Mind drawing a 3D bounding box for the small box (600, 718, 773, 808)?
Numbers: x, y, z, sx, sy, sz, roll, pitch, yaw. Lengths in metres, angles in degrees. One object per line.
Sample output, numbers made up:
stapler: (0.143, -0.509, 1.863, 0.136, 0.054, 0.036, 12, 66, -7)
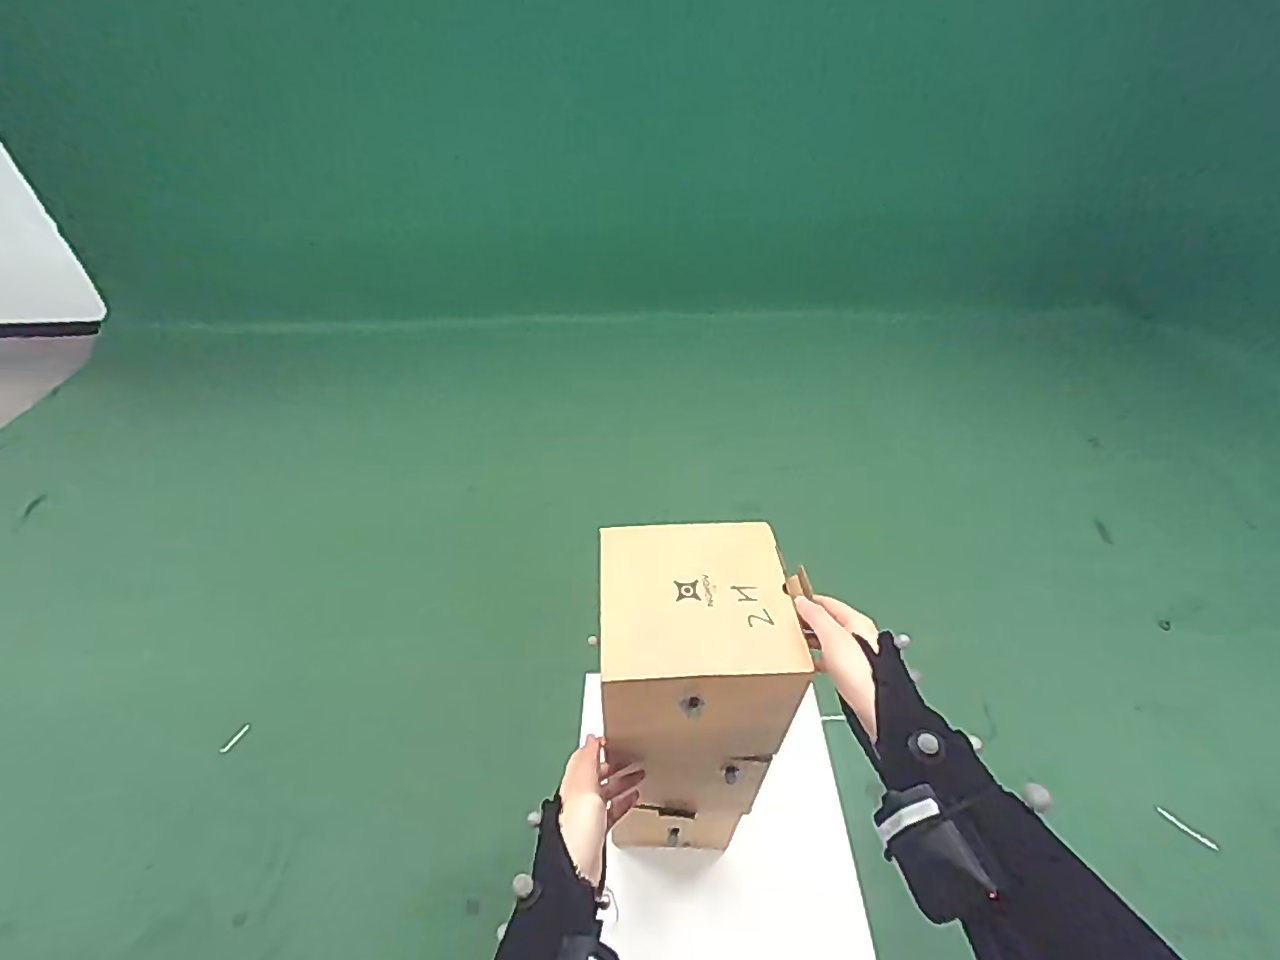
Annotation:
small box: (0.051, 0.272, 0.647, 0.179, 0.176, 0.168, 4, 42, 2)

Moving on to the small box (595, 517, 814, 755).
small box: (0.048, 0.154, 0.533, 0.179, 0.176, 0.168, -1, 43, -3)

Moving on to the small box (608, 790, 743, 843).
small box: (0.047, 0.390, 0.759, 0.168, 0.176, 0.179, 2, 43, 1)
